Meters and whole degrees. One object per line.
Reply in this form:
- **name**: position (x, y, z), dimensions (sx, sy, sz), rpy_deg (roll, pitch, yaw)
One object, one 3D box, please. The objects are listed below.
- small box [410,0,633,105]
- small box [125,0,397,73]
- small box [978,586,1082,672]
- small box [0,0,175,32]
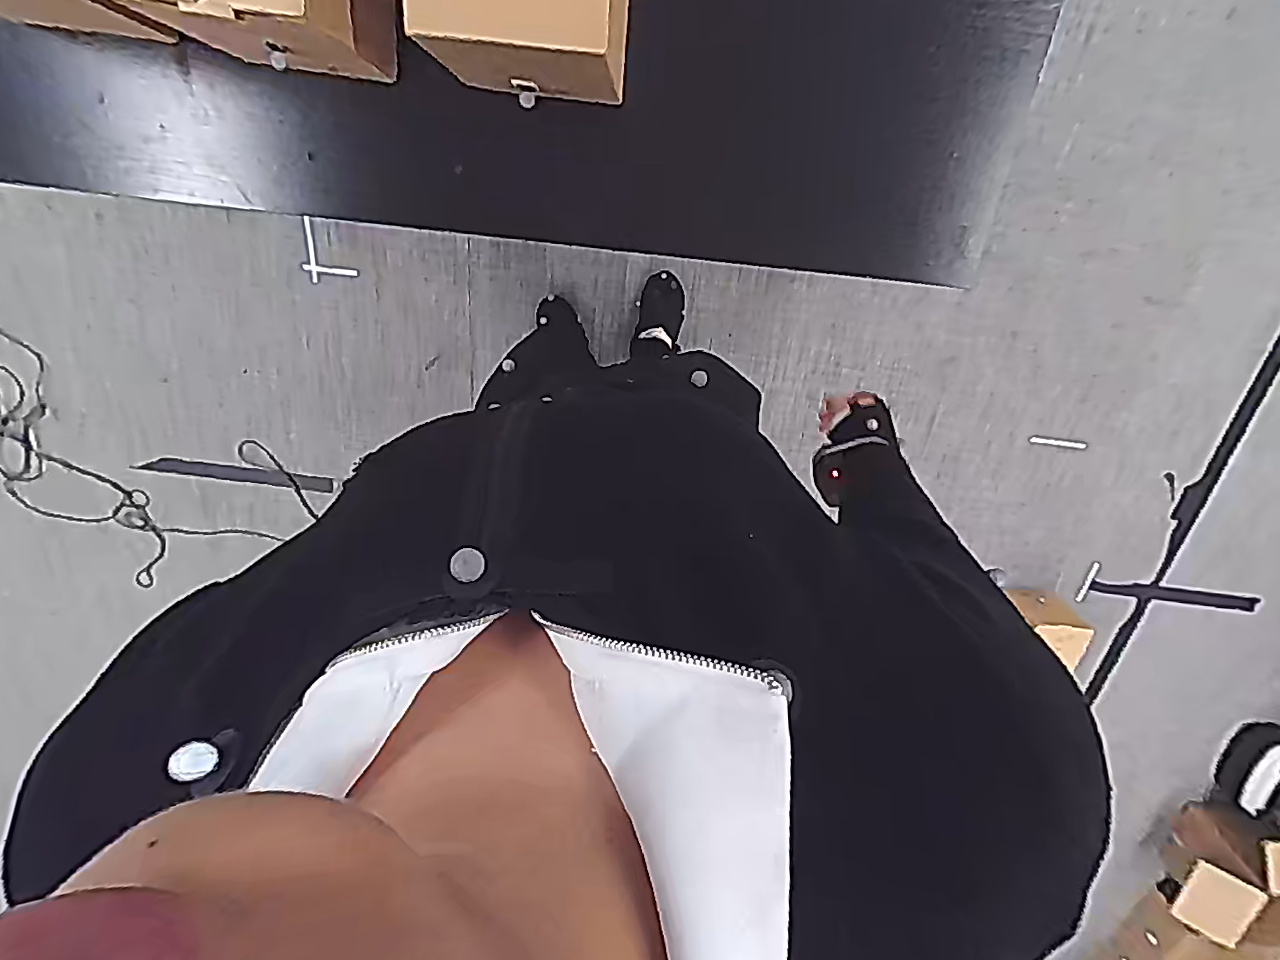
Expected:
- **small box**: position (-0.092, -0.463, 0.478), dimensions (0.168, 0.176, 0.179), rpy_deg (6, 114, 0)
- **small box**: position (-0.329, -0.488, 0.472), dimensions (0.168, 0.176, 0.179), rpy_deg (8, 114, -1)
- **small box**: position (1.159, 0.445, 1.628), dimensions (0.168, 0.176, 0.179), rpy_deg (6, 114, -1)
- **small box**: position (-0.559, -0.520, 0.463), dimensions (0.179, 0.176, 0.168), rpy_deg (6, 114, -2)
